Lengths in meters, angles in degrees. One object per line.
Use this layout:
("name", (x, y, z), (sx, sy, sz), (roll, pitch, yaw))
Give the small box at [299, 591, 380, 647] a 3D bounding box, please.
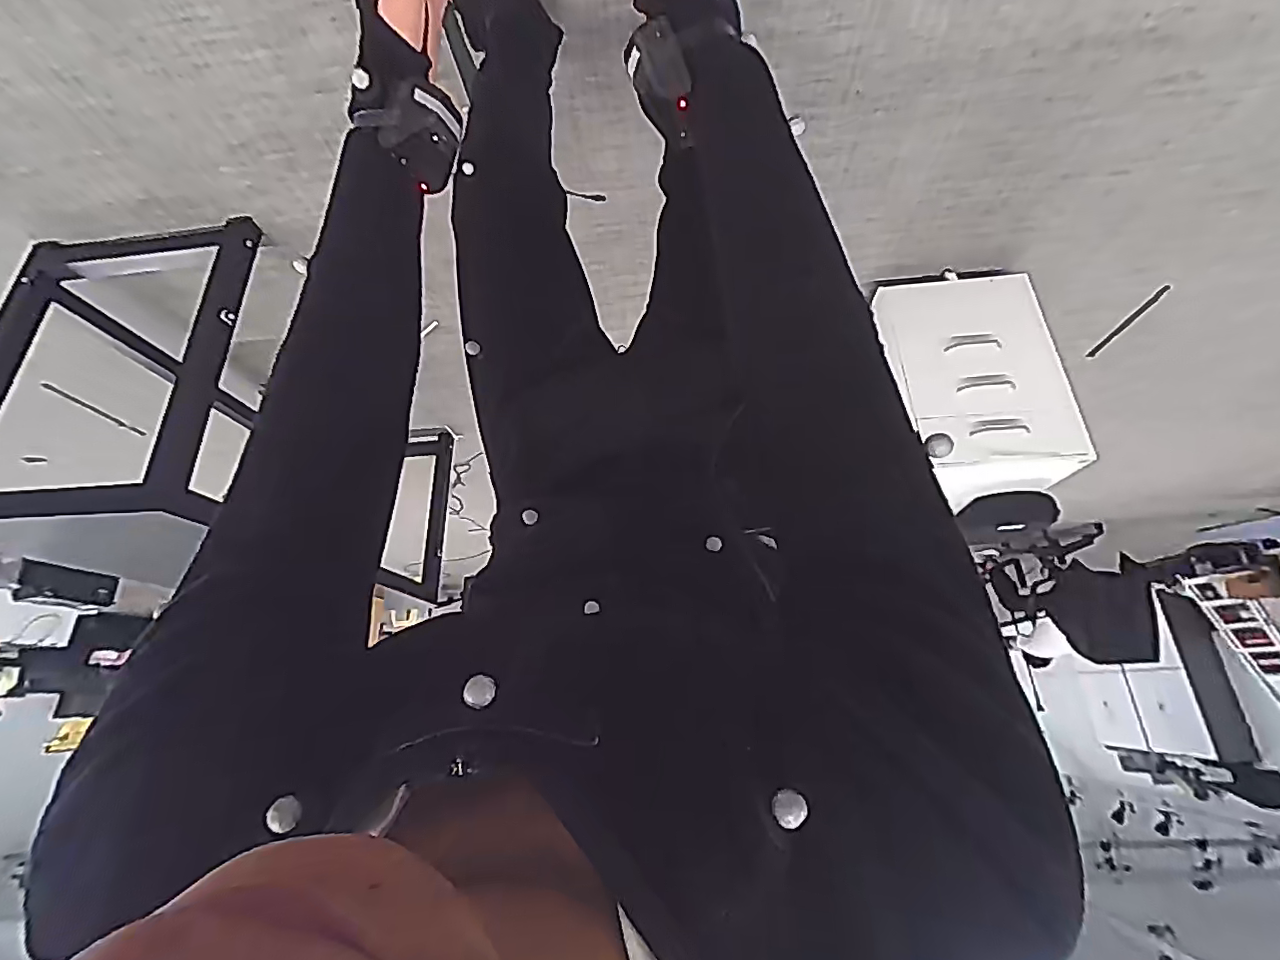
("small box", (-0.989, 0.467, 1.798), (0.179, 0.176, 0.168), (-5, 158, 6))
